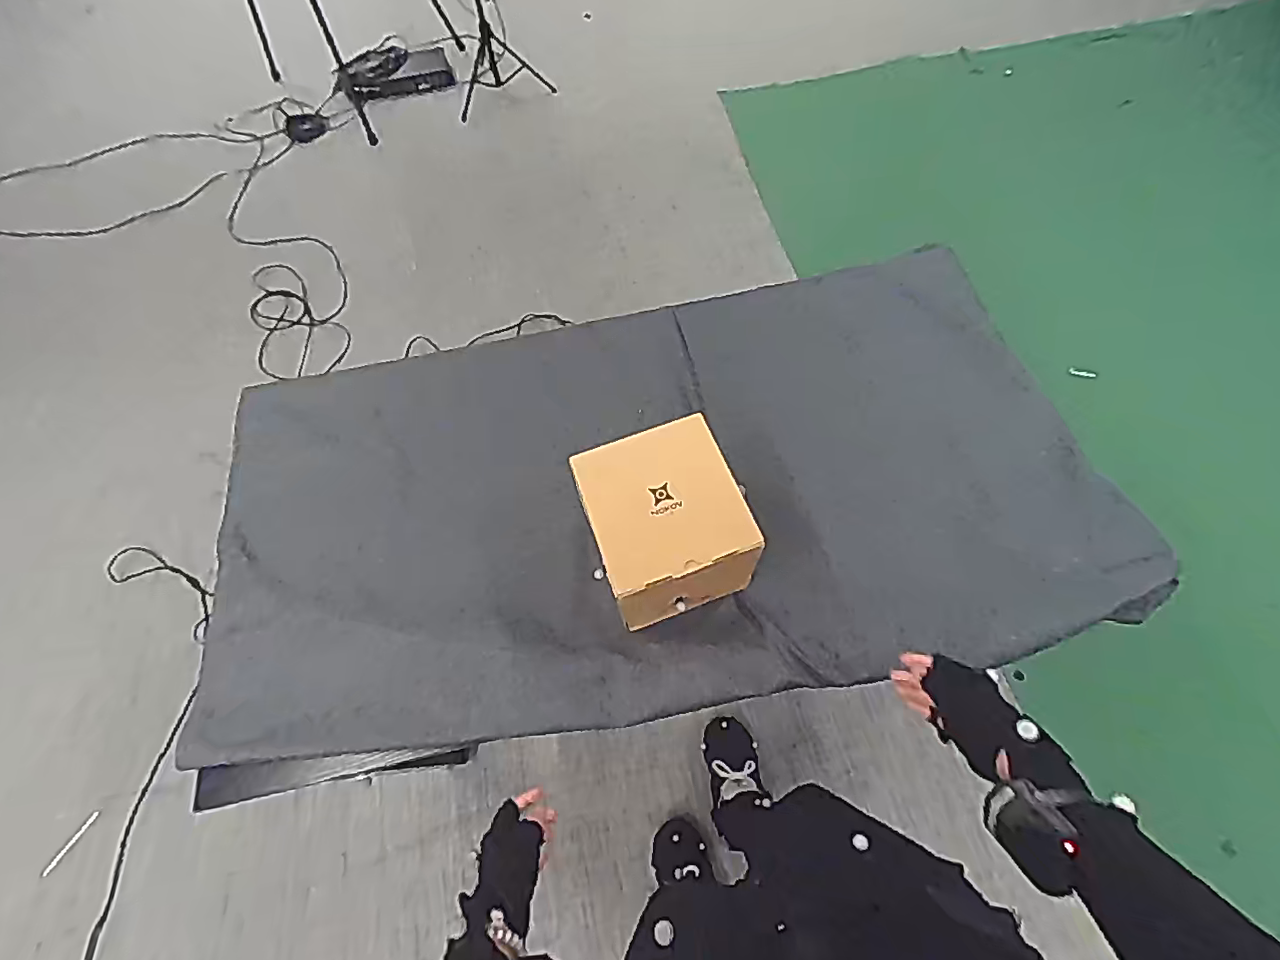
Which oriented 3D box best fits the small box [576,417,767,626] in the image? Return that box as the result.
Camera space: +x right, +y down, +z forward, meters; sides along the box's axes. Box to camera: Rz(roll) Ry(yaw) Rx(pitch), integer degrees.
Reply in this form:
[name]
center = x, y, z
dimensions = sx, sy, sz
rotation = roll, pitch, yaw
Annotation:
[small box]
center = 0.031, 0.057, 0.659
dimensions = 0.168, 0.176, 0.179
rotation = -19, 65, -7
